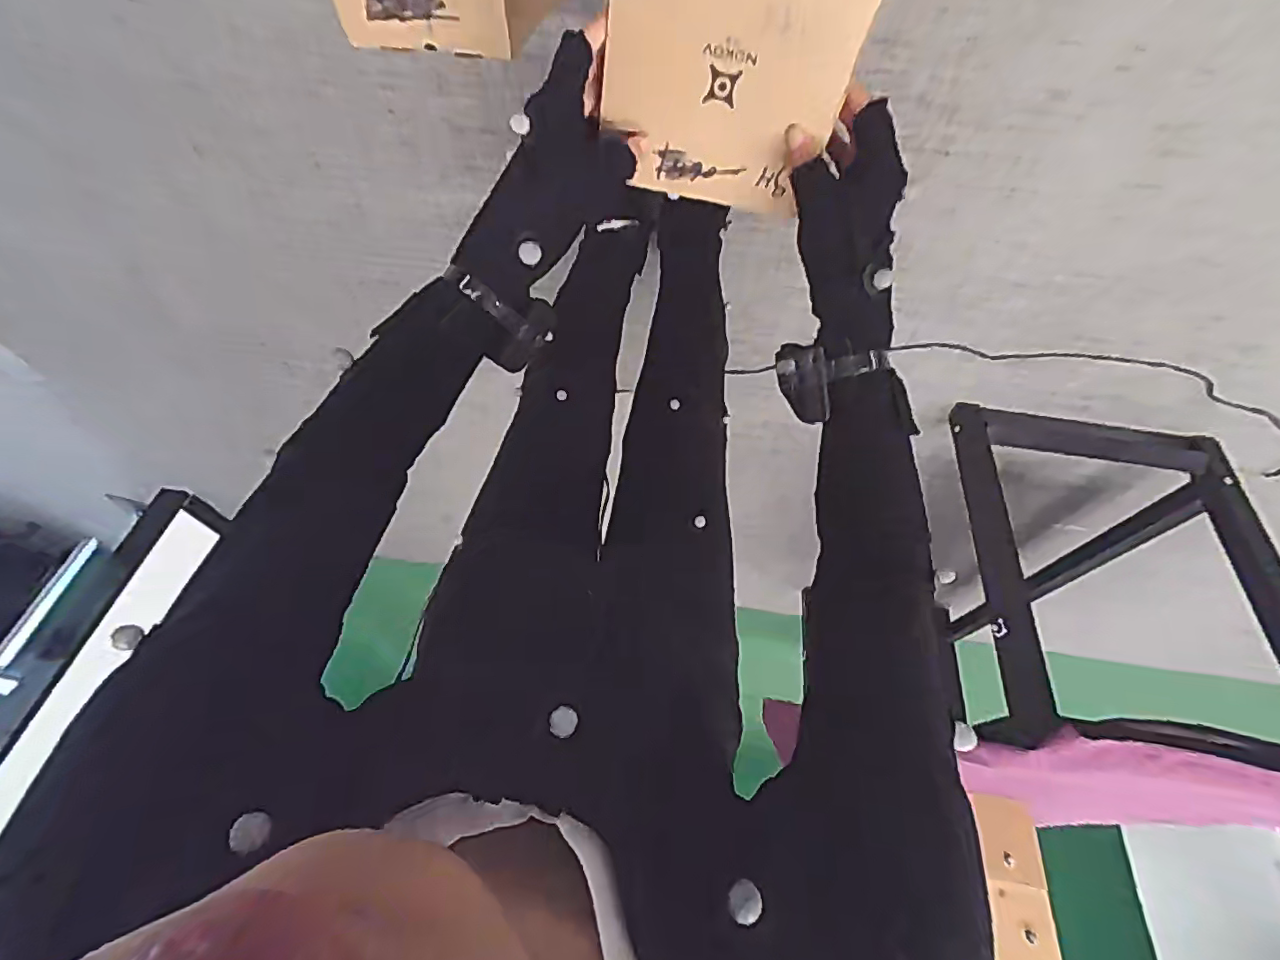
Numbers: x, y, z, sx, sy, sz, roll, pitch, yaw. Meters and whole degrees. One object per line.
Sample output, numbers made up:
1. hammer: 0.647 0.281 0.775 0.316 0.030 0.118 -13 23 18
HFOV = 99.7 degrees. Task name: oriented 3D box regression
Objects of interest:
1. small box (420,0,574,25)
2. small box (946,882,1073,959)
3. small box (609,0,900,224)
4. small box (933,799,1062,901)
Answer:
1. small box: -0.155 -0.642 0.590 0.168 0.176 0.179 8 147 4
2. small box: 0.795 0.988 1.173 0.168 0.176 0.179 10 147 0
3. small box: 0.075 -0.334 0.411 0.168 0.176 0.179 10 144 -3
4. small box: 0.817 0.851 1.256 0.179 0.176 0.168 11 146 -1
